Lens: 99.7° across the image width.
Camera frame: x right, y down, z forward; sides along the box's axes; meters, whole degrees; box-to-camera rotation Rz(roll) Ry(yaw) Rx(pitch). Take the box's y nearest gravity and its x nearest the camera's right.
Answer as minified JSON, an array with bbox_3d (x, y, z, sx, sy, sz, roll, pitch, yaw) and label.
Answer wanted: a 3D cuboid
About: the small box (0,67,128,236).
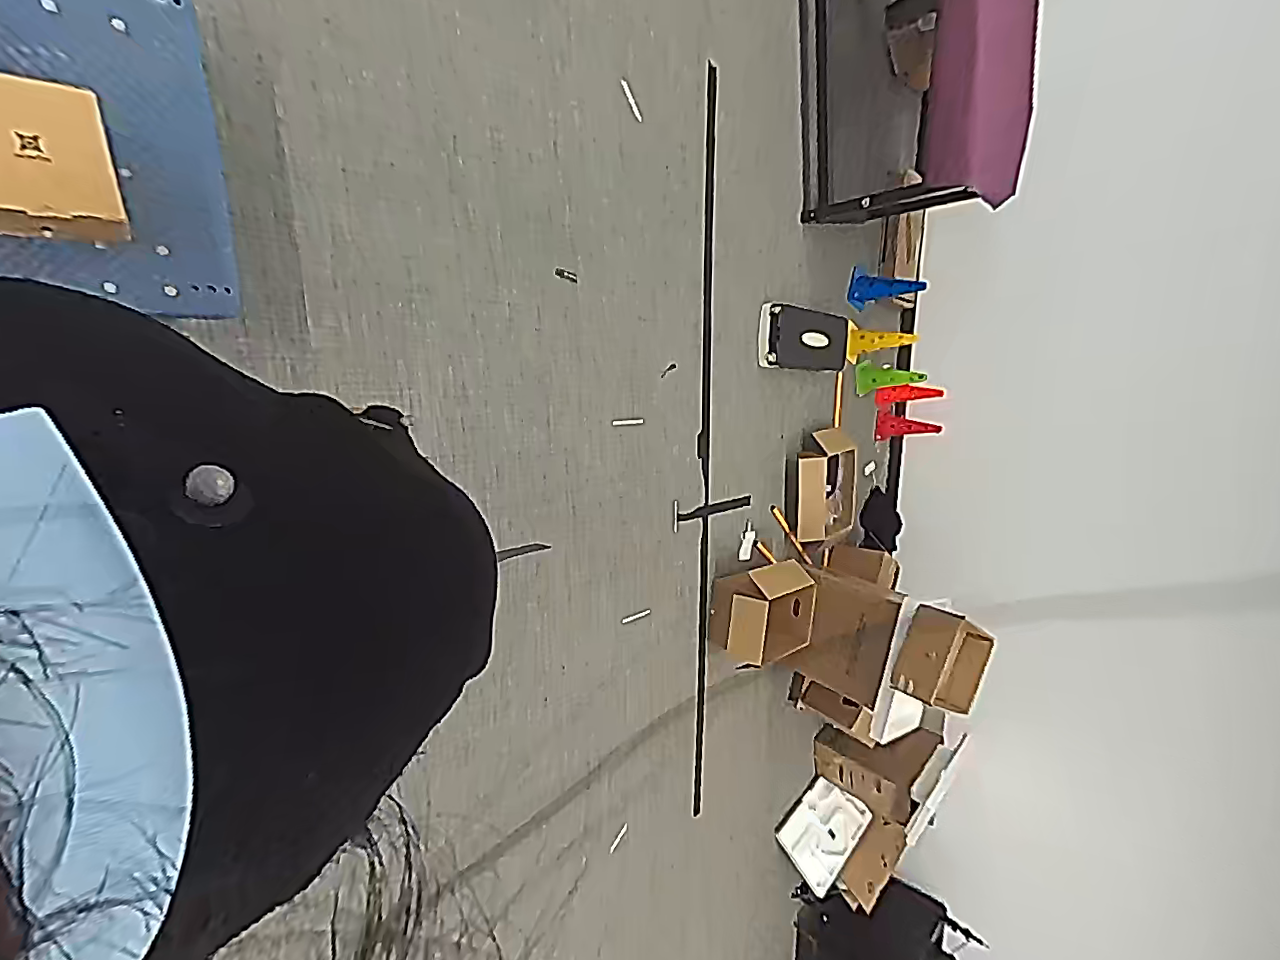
[{"bbox_3d":[-0.894,-0.478,0.801,0.168,0.176,0.179,-15,109,-41],"label":"small box"}]
